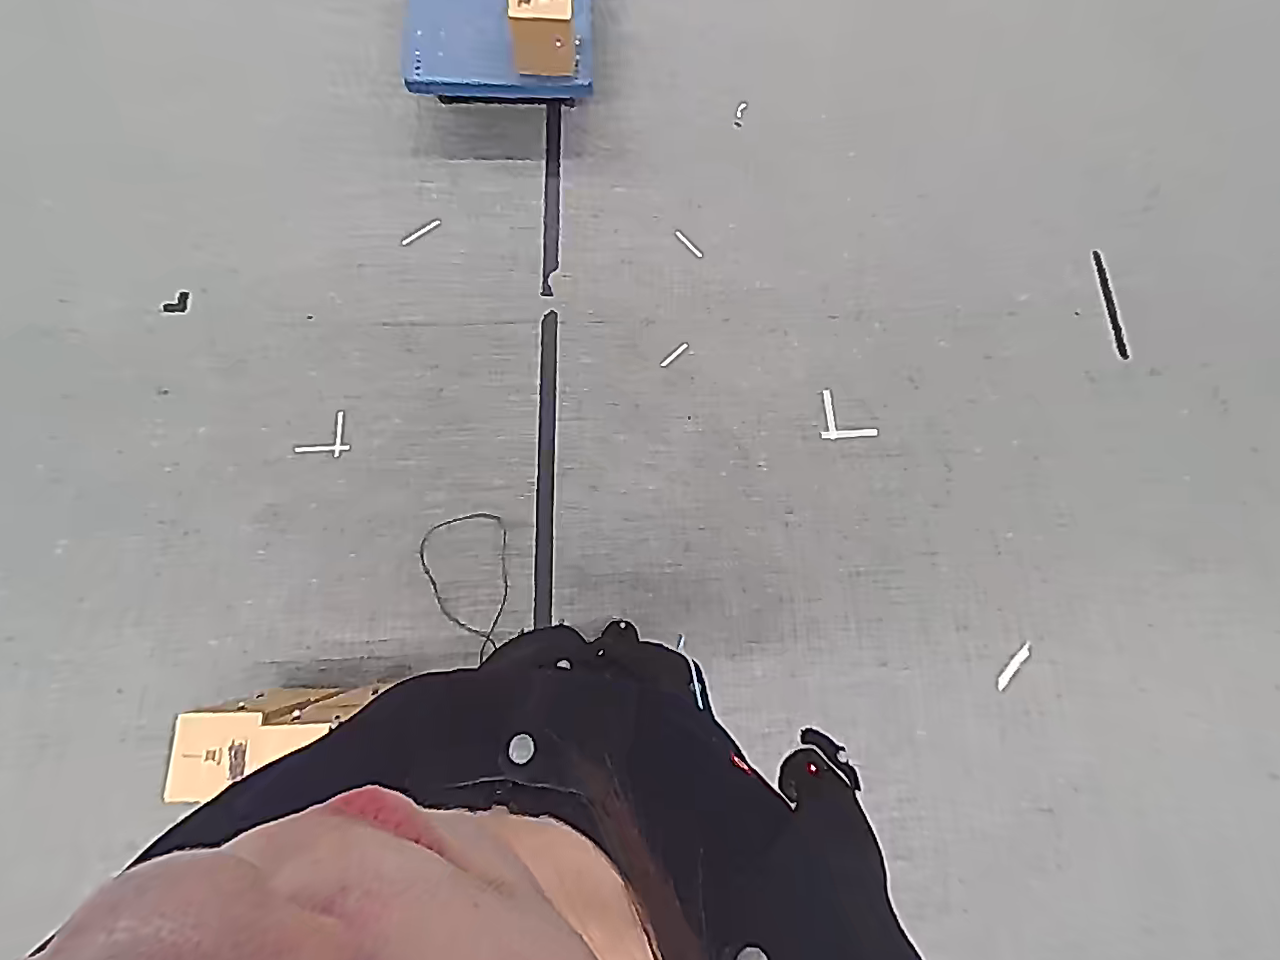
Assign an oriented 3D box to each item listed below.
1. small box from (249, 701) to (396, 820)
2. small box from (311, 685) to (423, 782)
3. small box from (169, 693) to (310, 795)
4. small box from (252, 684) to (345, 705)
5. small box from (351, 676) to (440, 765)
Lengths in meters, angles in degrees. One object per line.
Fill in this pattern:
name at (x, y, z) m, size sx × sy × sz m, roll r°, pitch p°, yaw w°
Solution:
small box at (-0.585, 0.518, 1.018) m, size 0.179 × 0.176 × 0.168 m, roll 0°, pitch 78°, yaw -4°
small box at (-0.596, 0.549, 1.181) m, size 0.179 × 0.176 × 0.168 m, roll -1°, pitch 78°, yaw -3°
small box at (-0.849, 0.561, 1.167) m, size 0.179 × 0.176 × 0.168 m, roll 0°, pitch 77°, yaw -1°
small box at (-0.855, 0.599, 1.327) m, size 0.179 × 0.176 × 0.168 m, roll 1°, pitch 78°, yaw -1°
small box at (-0.605, 0.589, 1.340) m, size 0.168 × 0.176 × 0.179 m, roll 0°, pitch 77°, yaw -3°
